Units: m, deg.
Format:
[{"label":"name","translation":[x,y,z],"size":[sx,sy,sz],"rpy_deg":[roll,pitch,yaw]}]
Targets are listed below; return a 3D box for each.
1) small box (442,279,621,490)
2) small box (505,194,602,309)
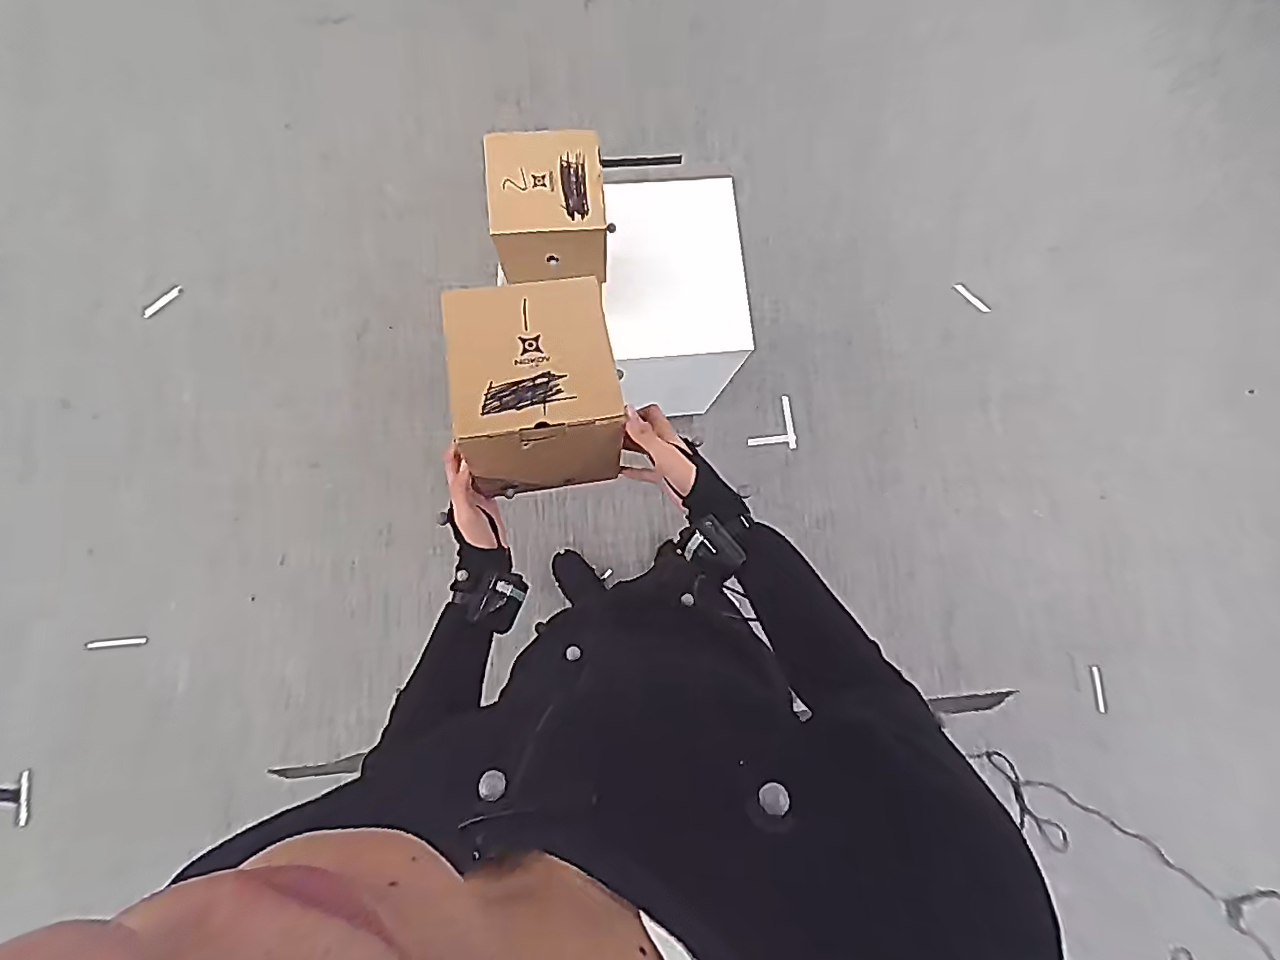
[{"label":"small box","translation":[-0.118,-0.097,0.618],"size":[0.168,0.176,0.179],"rpy_deg":[-9,70,-9]},{"label":"small box","translation":[-0.161,-0.421,1.050],"size":[0.168,0.176,0.179],"rpy_deg":[-5,83,-5]}]
